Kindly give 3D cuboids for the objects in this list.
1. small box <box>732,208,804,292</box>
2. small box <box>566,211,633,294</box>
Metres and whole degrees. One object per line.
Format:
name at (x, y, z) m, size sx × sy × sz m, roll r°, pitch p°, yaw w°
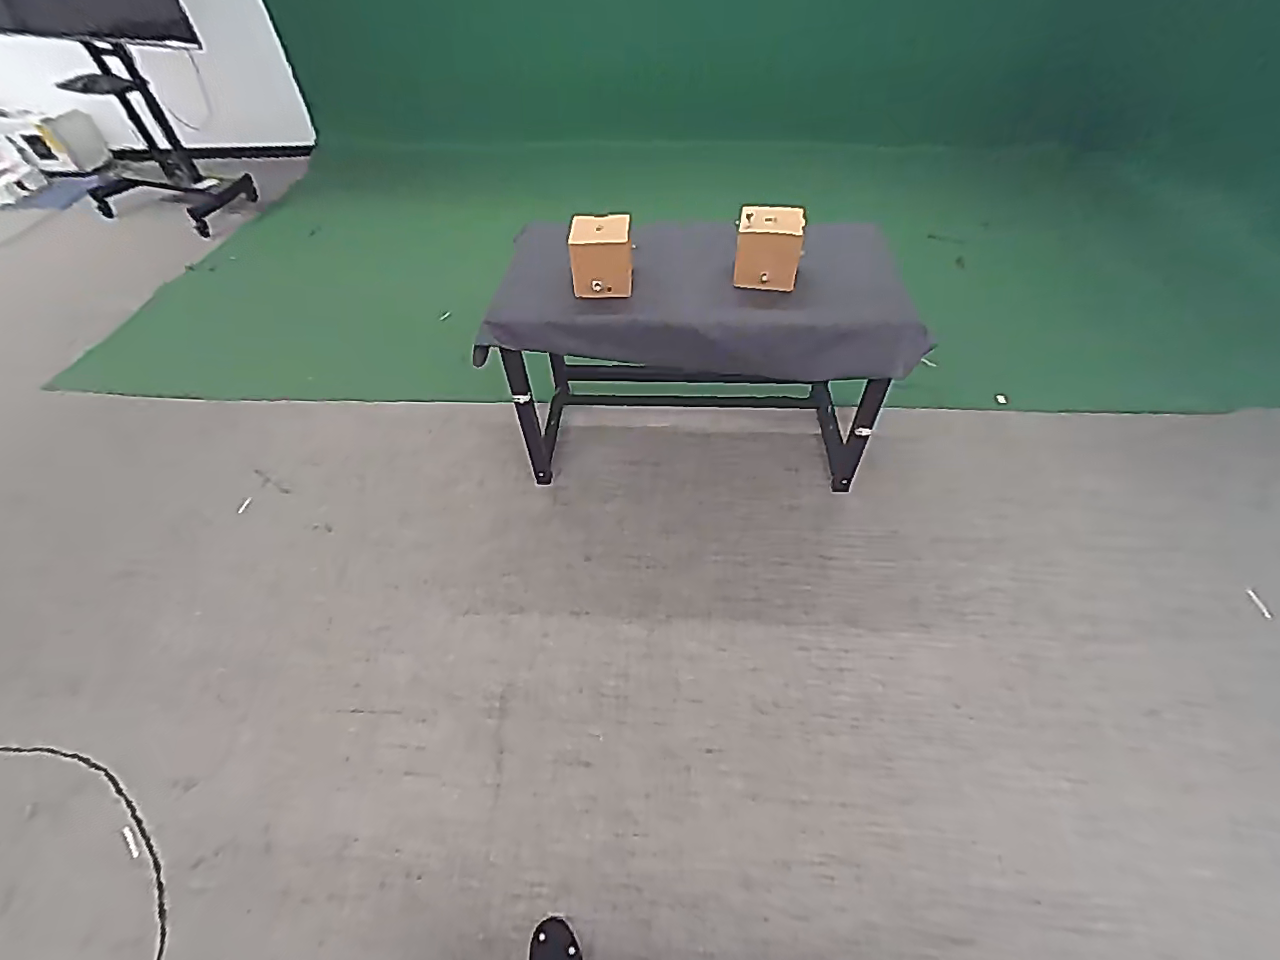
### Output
small box at (0.372, -0.670, 1.581) m, size 0.179 × 0.176 × 0.168 m, roll 8°, pitch 50°, yaw 9°
small box at (-0.111, -0.660, 1.569) m, size 0.168 × 0.176 × 0.179 m, roll 0°, pitch 49°, yaw 4°
